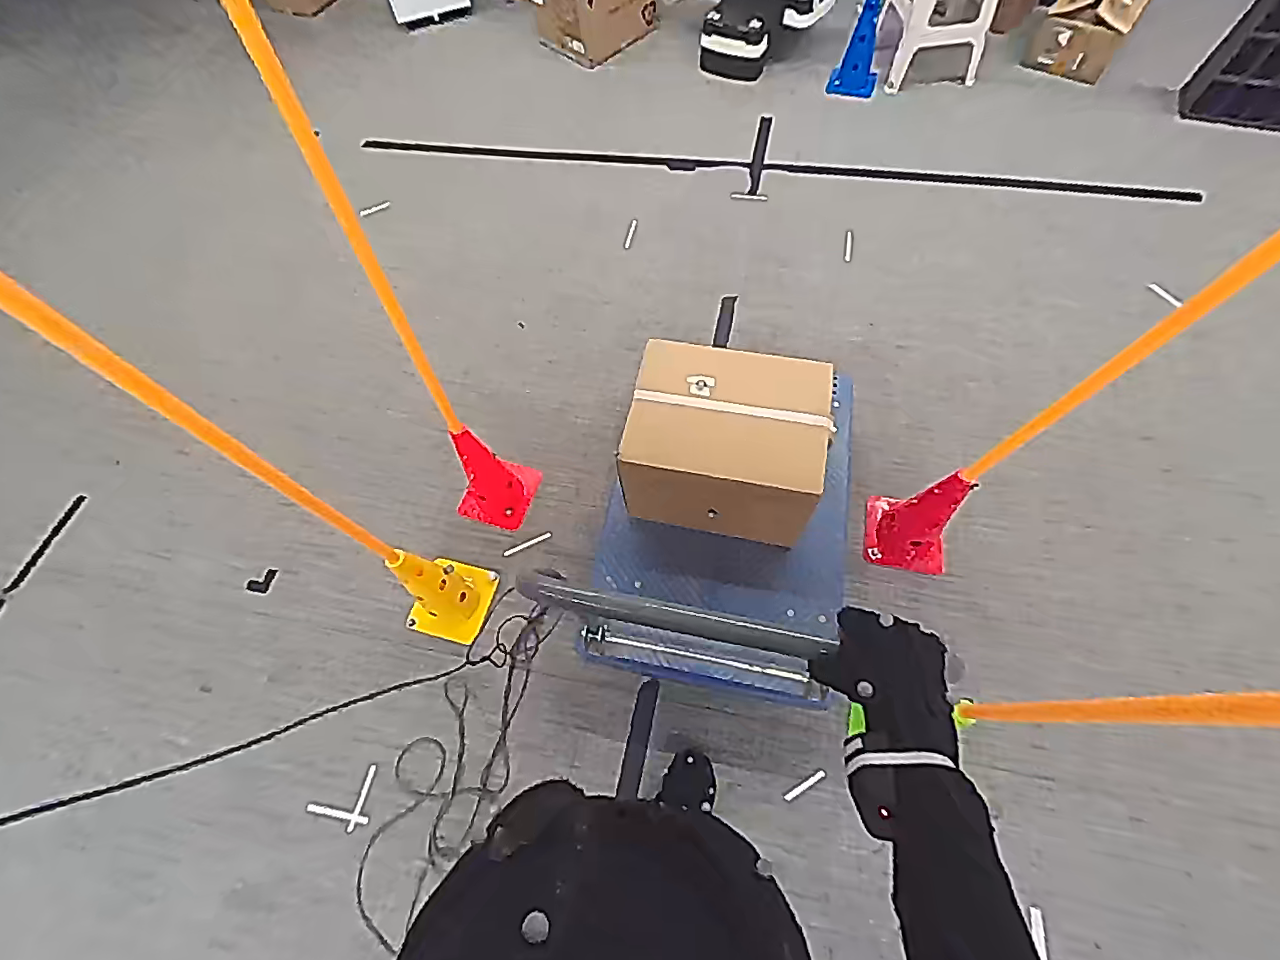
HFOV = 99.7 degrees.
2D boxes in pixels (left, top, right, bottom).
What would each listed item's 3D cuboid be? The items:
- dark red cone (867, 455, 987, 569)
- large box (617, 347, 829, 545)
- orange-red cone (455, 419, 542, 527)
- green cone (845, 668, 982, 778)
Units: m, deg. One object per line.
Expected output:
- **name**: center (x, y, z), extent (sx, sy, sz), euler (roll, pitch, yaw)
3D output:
- **dark red cone**: center (0.703, 0.054, 1.291), extent (0.201, 0.394, 0.202), euler (11, 65, 7)
- **large box**: center (0.190, -0.068, 1.248), extent (0.408, 0.320, 0.320), euler (10, 65, 10)
- **orange-red cone**: center (-0.417, -0.050, 1.441), extent (0.198, 0.360, 0.199), euler (17, 64, 11)
- **green cone**: center (0.578, 0.484, 1.103), extent (0.202, 0.368, 0.200), euler (14, 65, 9)
